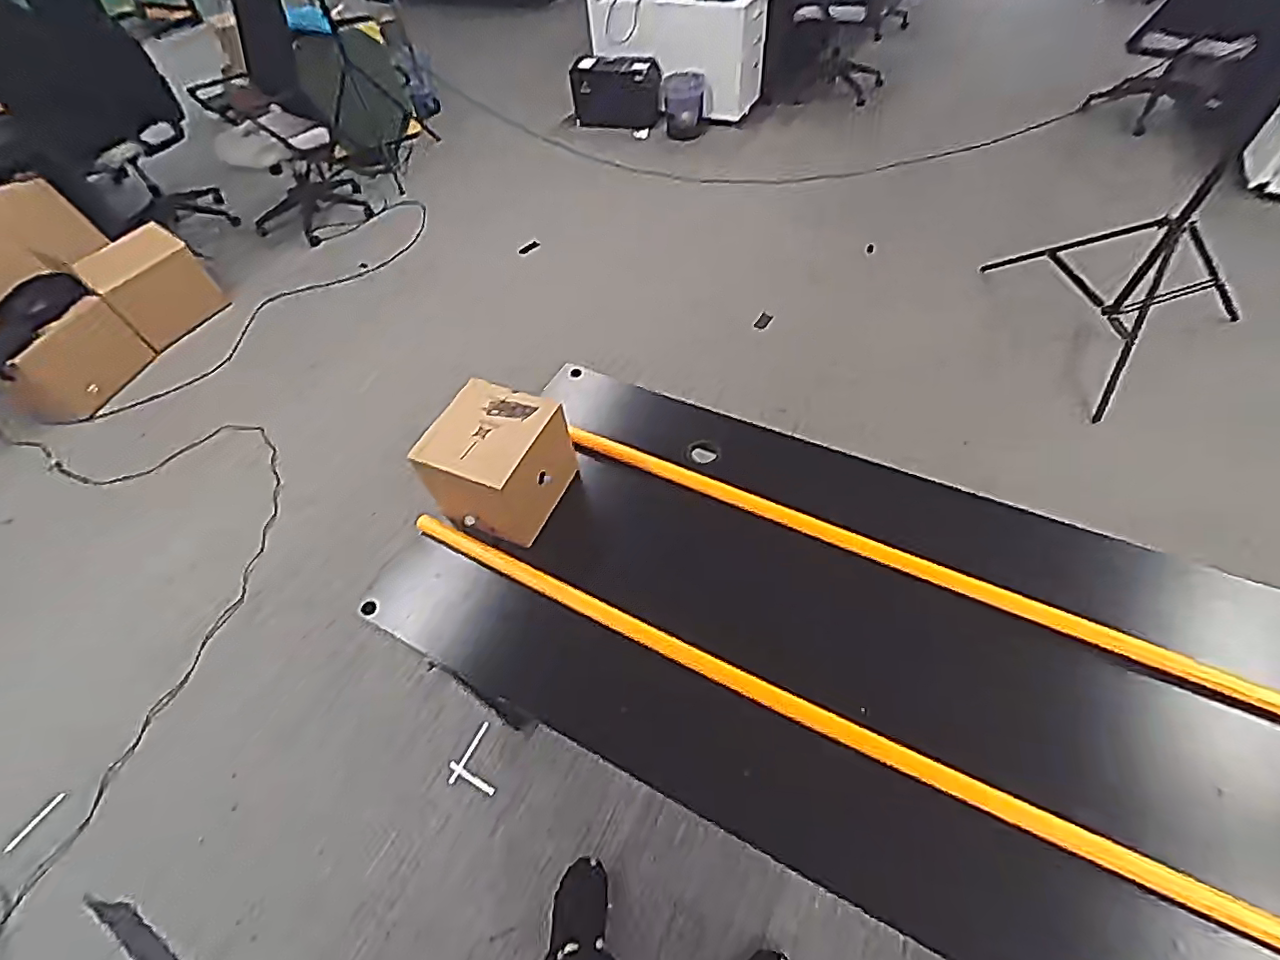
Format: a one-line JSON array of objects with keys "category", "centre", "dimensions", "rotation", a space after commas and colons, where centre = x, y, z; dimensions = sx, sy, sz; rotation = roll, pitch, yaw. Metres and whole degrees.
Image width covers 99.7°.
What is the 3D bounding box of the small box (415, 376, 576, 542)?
[{"category": "small box", "centre": [-0.216, -0.031, 0.867], "dimensions": [0.168, 0.176, 0.179], "rotation": [18, 58, 17]}]
